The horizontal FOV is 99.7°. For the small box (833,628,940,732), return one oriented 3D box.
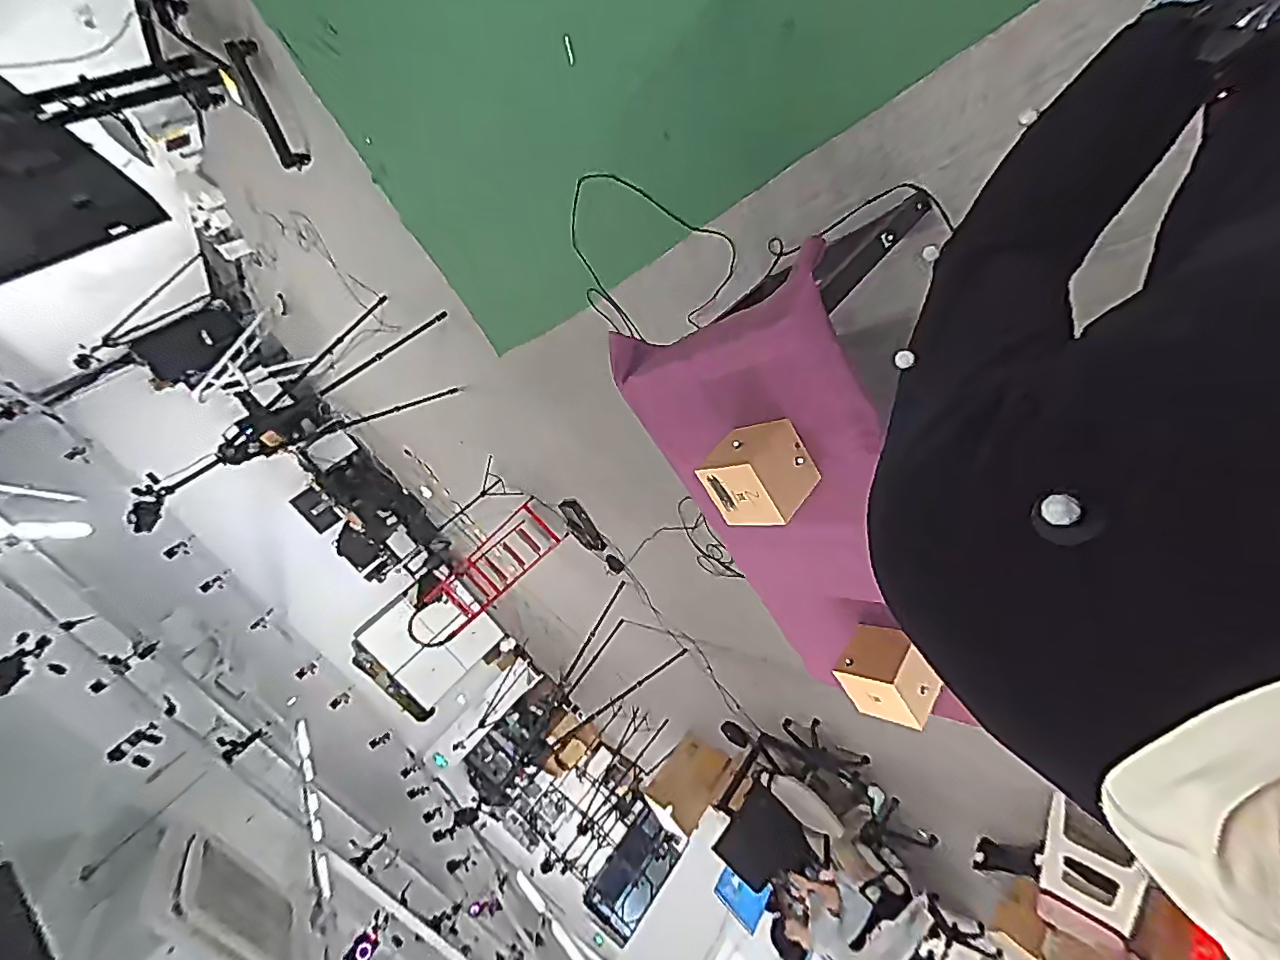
[{"bbox_3d":[0.636,0.500,1.377,0.168,0.176,0.179,54,150,-16],"label":"small box"}]
